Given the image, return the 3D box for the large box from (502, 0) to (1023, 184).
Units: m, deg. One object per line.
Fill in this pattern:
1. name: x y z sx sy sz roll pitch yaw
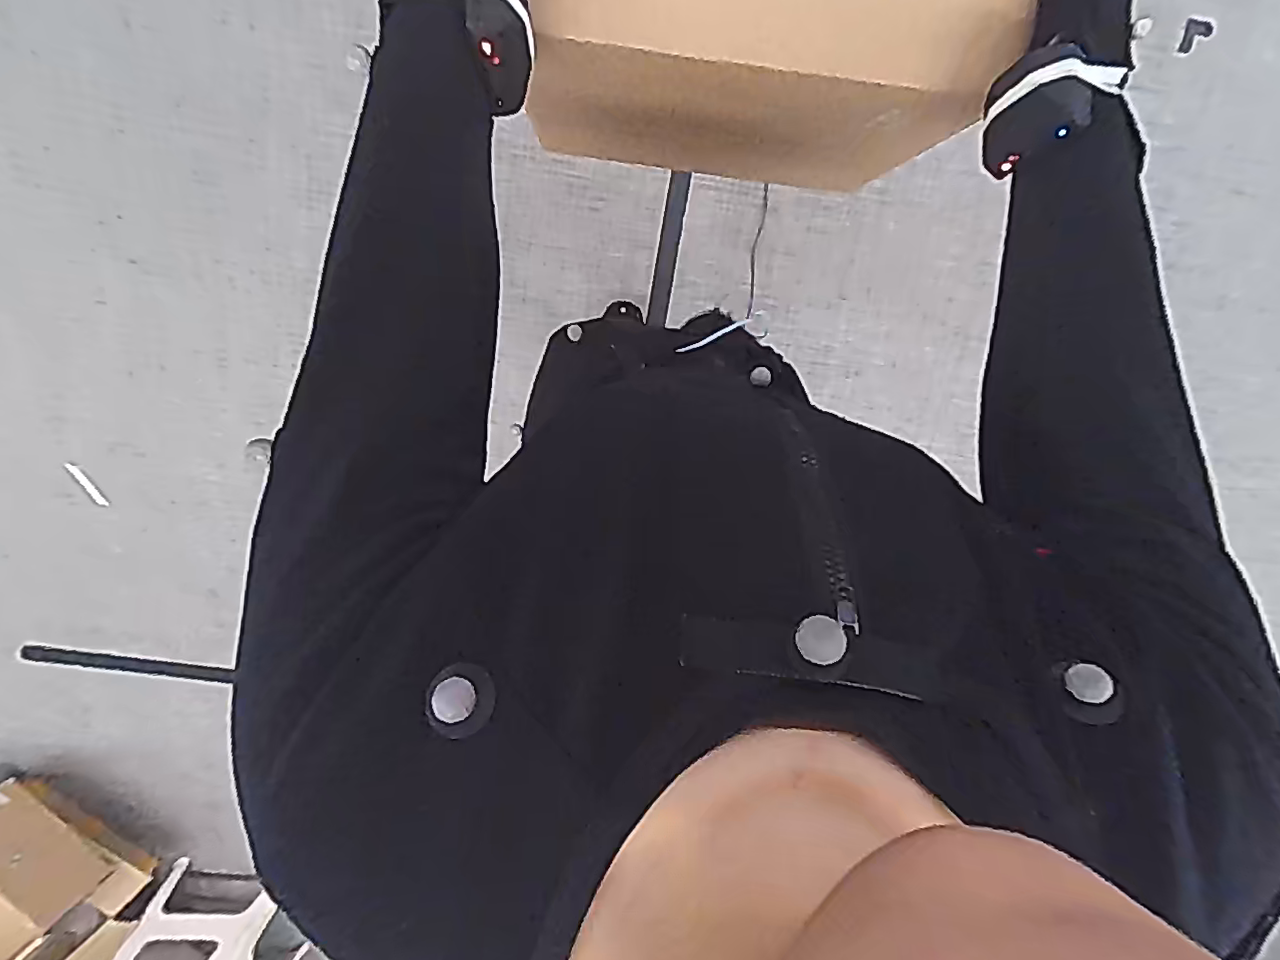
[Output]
1. large box: 0.098 -0.509 0.518 0.408 0.320 0.320 5 107 -5
